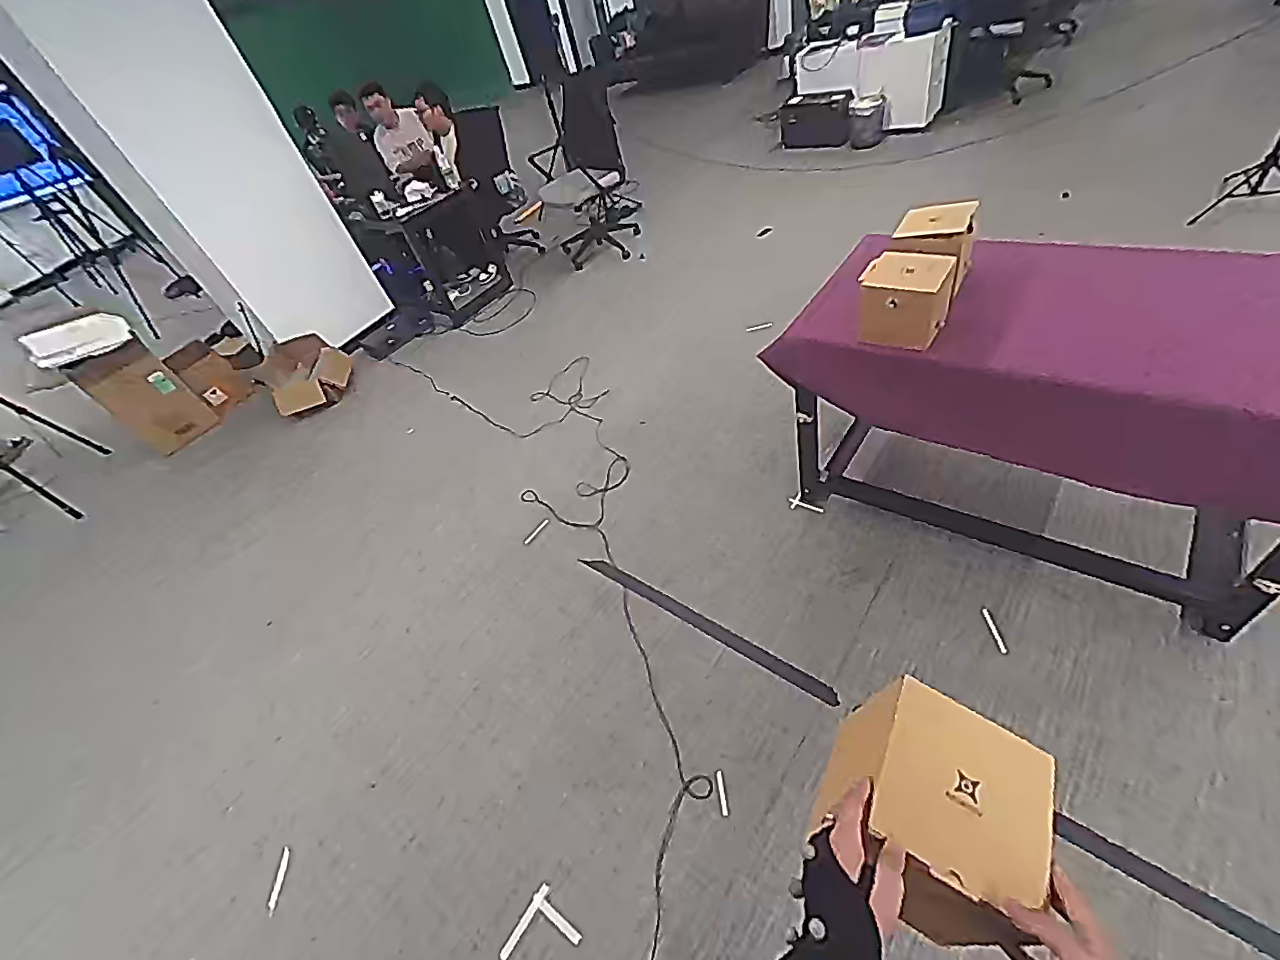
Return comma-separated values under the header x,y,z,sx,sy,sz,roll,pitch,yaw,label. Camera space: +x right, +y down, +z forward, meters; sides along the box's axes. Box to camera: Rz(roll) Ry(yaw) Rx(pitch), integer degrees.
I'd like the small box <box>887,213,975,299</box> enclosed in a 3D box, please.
x,y,z,sx,sy,sz,roll,pitch,yaw,label
0.789,-0.613,1.488,0.179,0.176,0.168,19,57,32,small box

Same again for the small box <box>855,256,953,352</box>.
x,y,z,sx,sy,sz,roll,pitch,yaw,label
0.661,-0.444,1.371,0.179,0.176,0.168,21,57,33,small box
